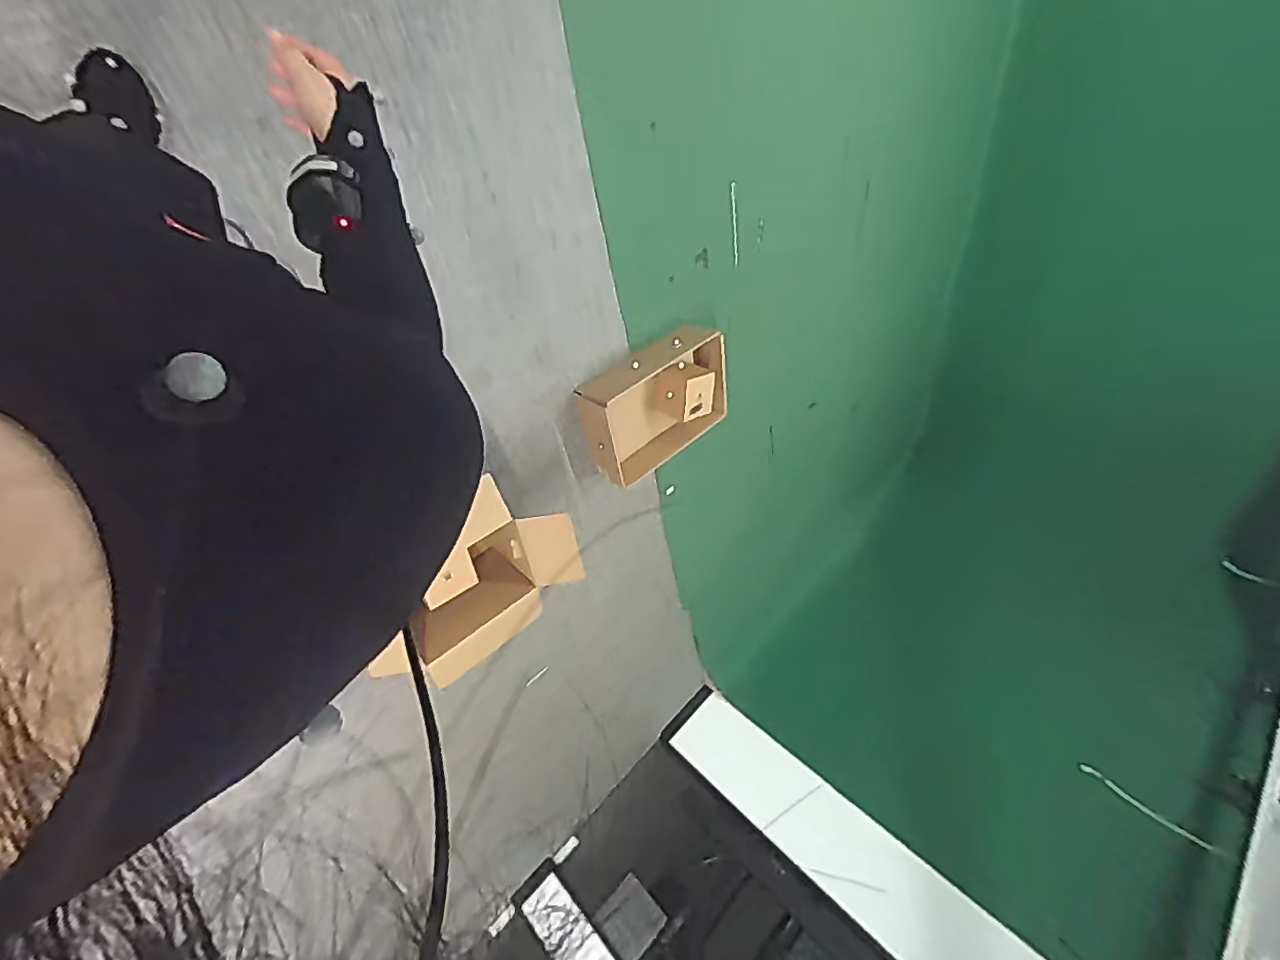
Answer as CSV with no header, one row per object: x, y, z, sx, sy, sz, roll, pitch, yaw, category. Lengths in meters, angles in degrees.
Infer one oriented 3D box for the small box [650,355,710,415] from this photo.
0.156,-0.381,2.154,0.168,0.176,0.179,-23,130,-37,small box
